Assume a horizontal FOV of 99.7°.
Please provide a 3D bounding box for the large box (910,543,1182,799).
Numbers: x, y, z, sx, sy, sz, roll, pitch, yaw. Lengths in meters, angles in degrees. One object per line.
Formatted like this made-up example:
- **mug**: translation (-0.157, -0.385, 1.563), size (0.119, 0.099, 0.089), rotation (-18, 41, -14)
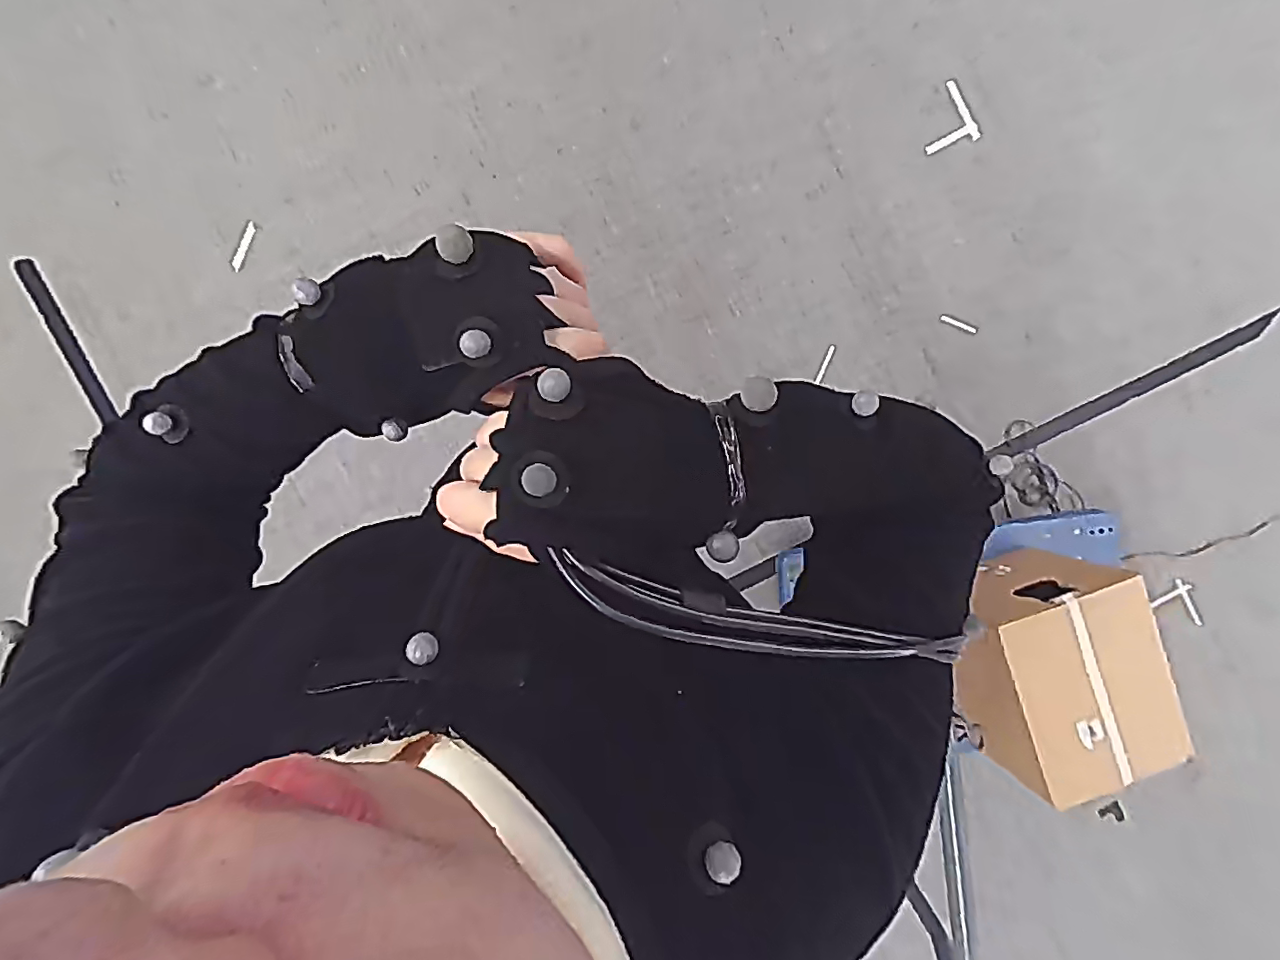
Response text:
- **large box**: translation (0.889, 0.402, 1.230), size (0.320, 0.320, 0.408), rotation (-19, 94, -1)
